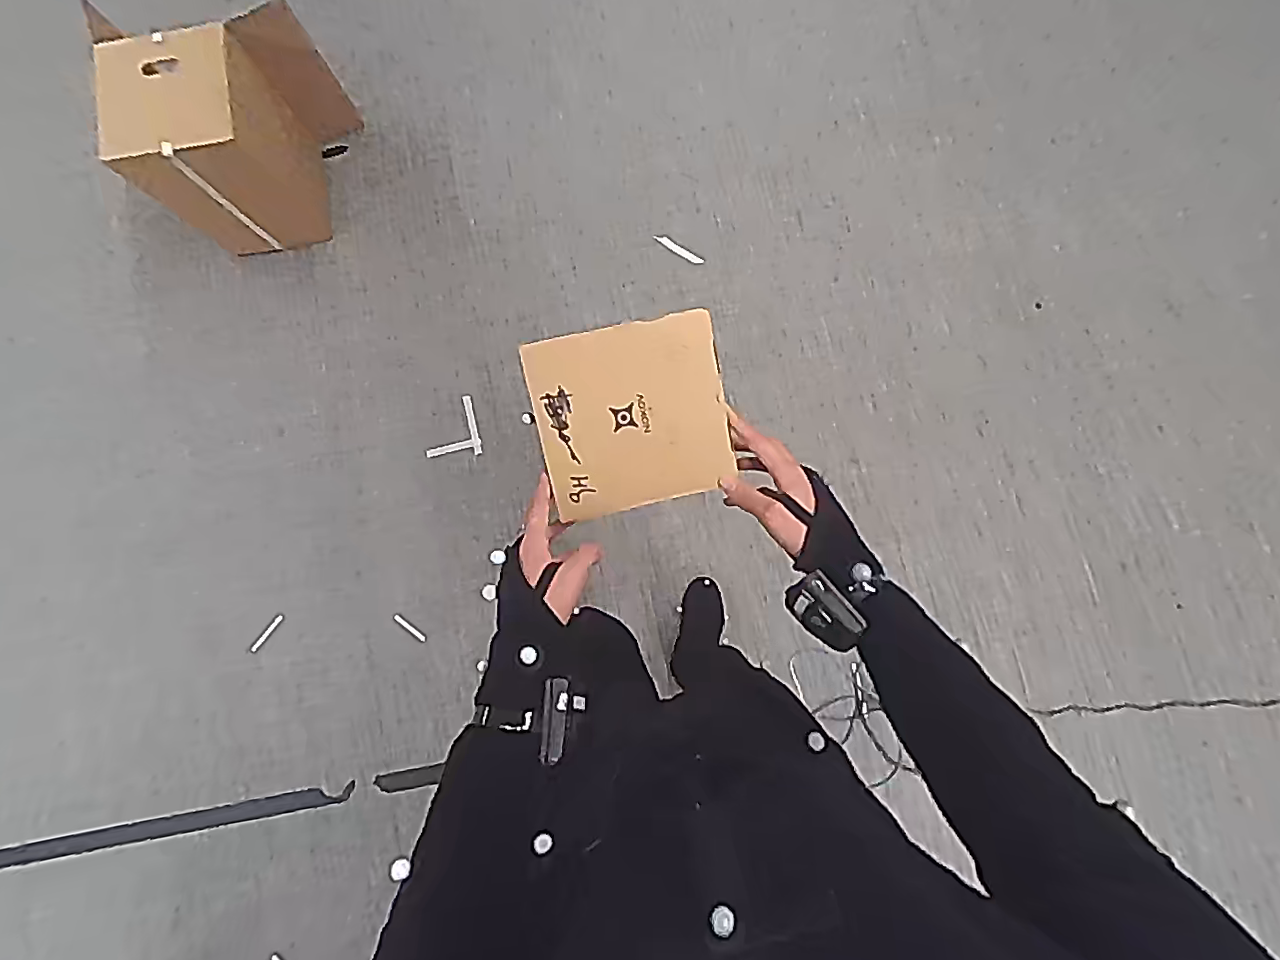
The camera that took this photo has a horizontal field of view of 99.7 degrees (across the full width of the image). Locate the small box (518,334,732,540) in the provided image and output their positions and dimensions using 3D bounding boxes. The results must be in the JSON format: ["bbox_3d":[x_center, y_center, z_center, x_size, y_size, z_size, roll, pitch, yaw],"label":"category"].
[{"bbox_3d":[-0.019,-0.050,0.578,0.179,0.176,0.168,-13,98,-4],"label":"small box"}]
